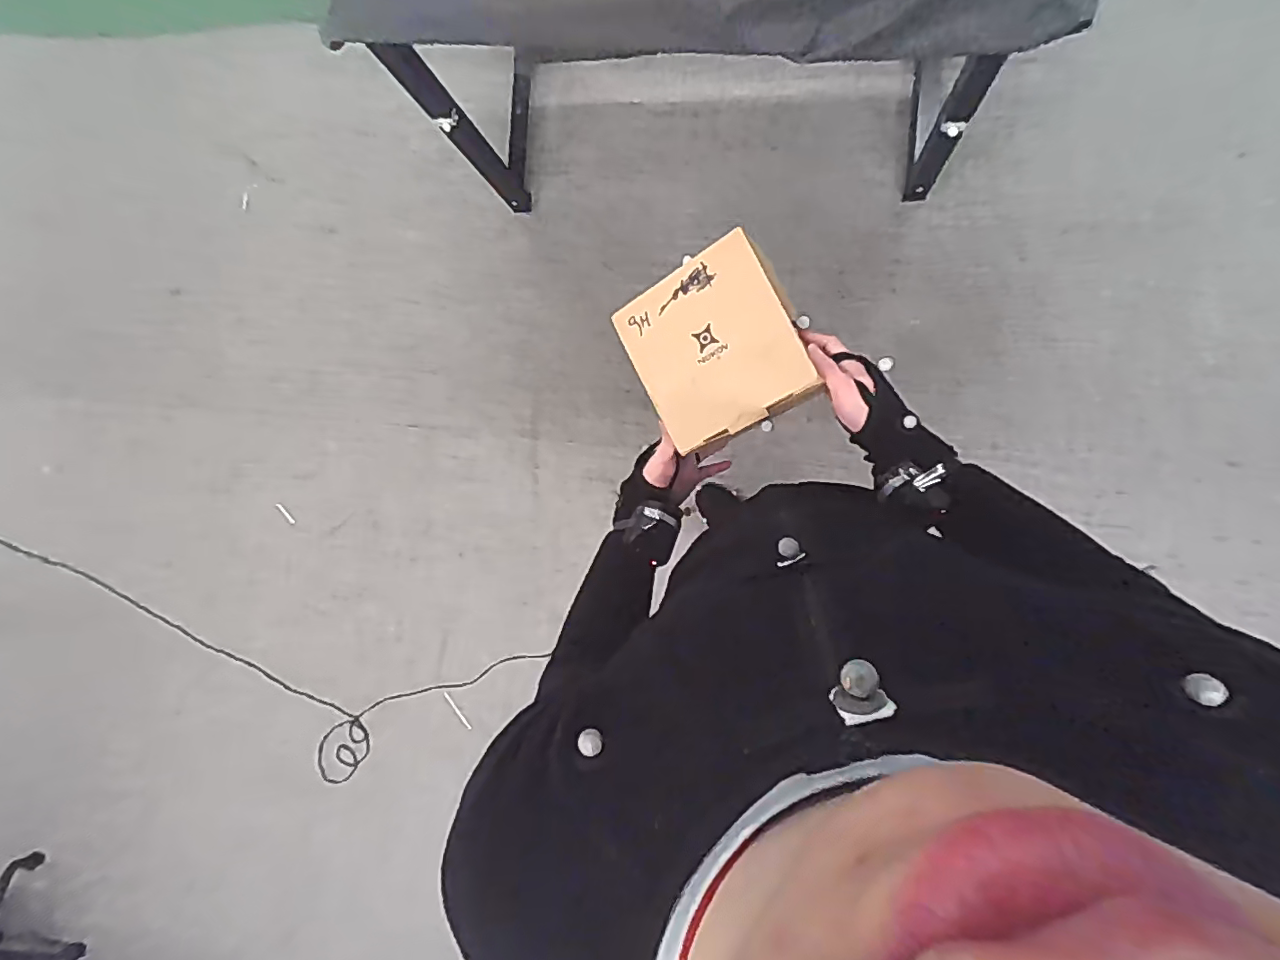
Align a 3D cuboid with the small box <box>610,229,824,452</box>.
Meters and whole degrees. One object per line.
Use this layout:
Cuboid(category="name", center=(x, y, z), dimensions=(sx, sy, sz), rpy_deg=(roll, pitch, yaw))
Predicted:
Cuboid(category="small box", center=(0.100, -0.152, 0.633), dimensions=(0.168, 0.176, 0.179), rpy_deg=(-28, 87, 24))
